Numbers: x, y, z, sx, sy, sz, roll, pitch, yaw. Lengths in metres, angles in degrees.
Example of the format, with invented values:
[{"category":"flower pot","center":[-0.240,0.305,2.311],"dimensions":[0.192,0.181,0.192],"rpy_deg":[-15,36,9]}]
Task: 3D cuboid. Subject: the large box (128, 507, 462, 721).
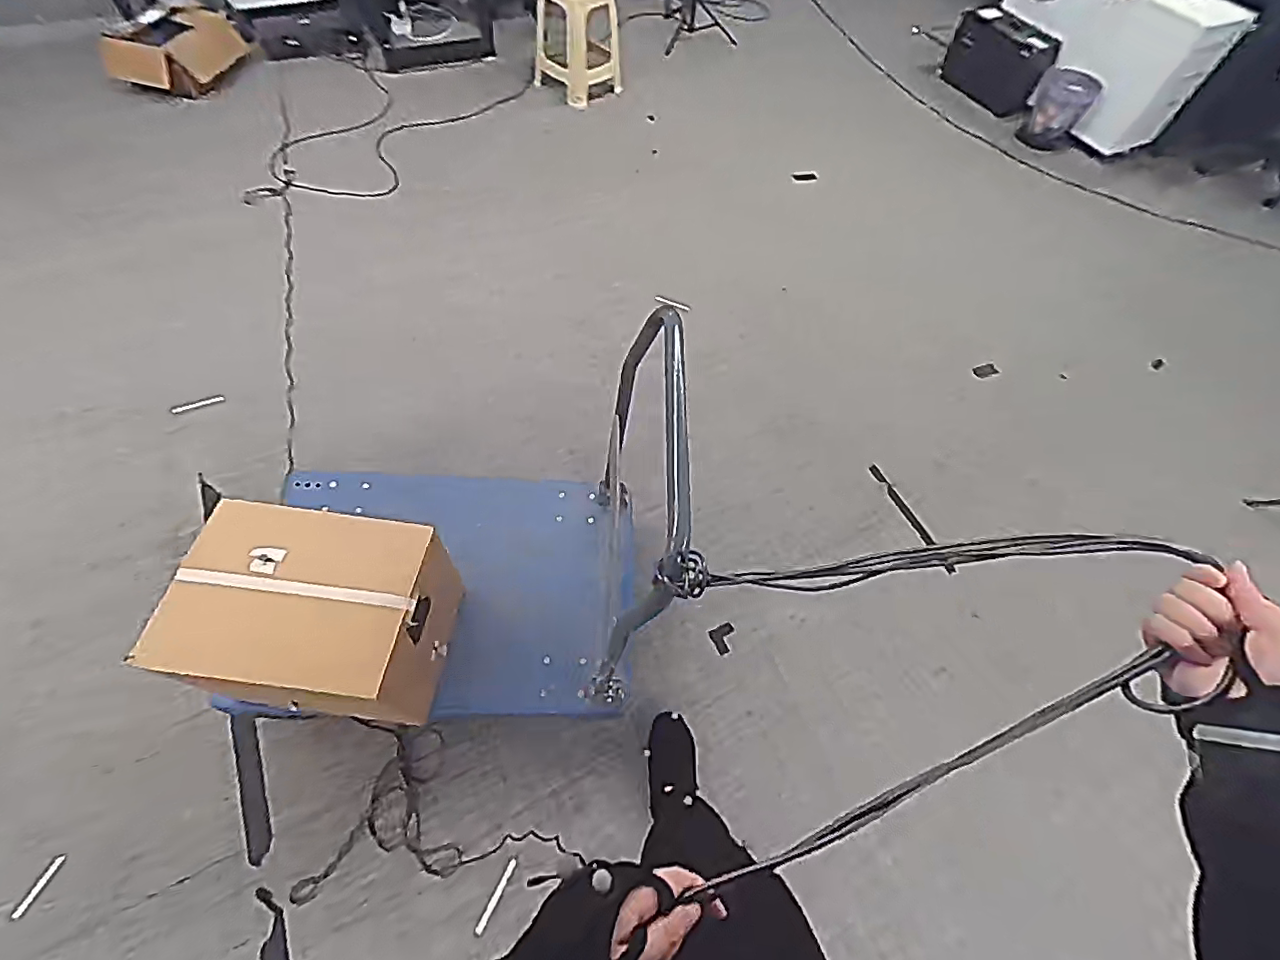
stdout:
[{"category":"large box","center":[-0.609,0.276,1.060],"dimensions":[0.408,0.320,0.320],"rpy_deg":[7,58,-1]}]
